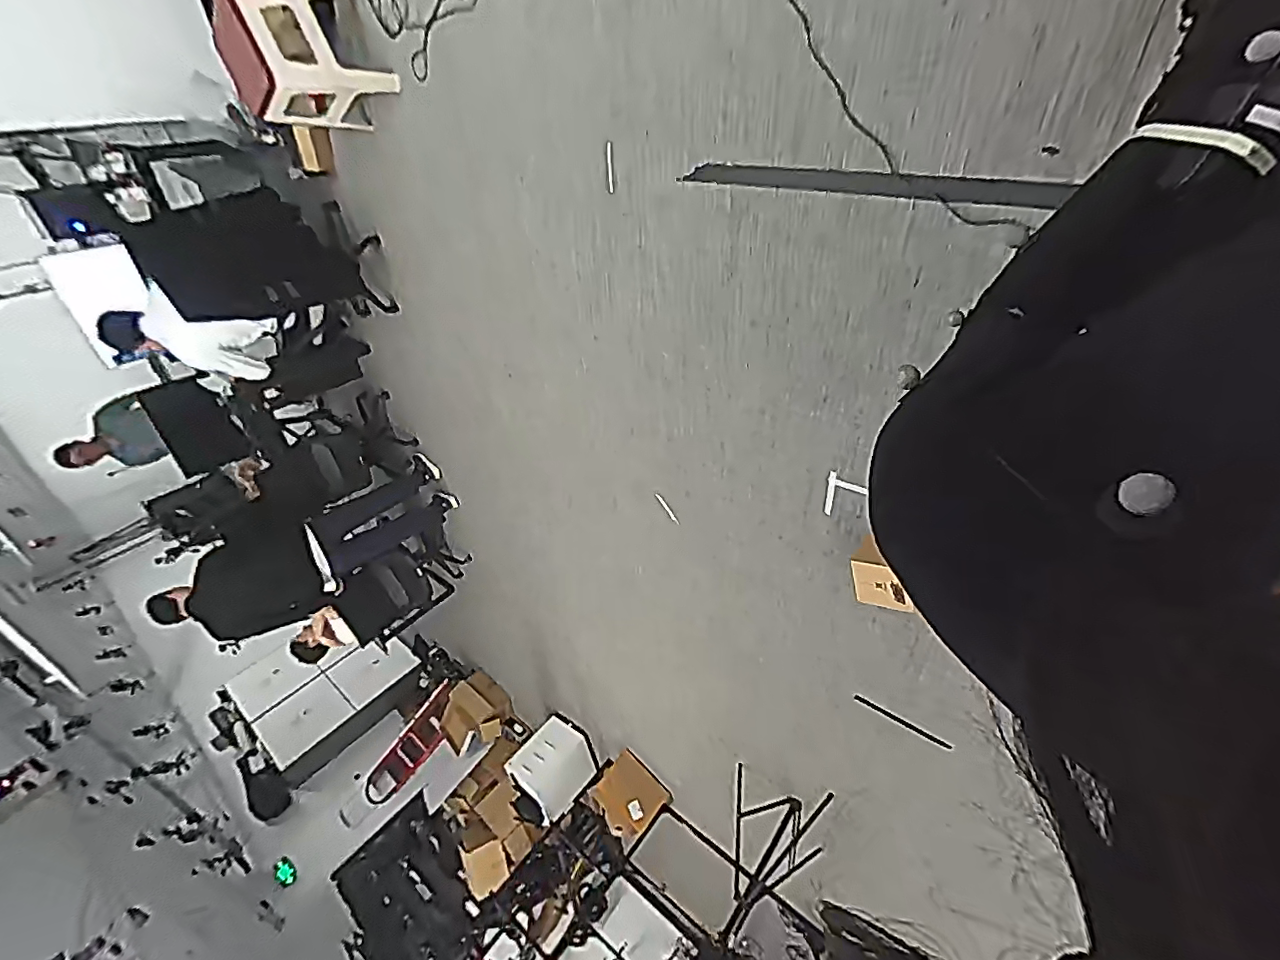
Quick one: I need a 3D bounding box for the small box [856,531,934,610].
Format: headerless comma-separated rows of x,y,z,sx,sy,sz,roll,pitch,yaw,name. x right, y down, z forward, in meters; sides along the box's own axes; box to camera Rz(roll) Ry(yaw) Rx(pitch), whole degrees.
0.806,0.278,1.697,0.179,0.176,0.168,5,123,44,small box
